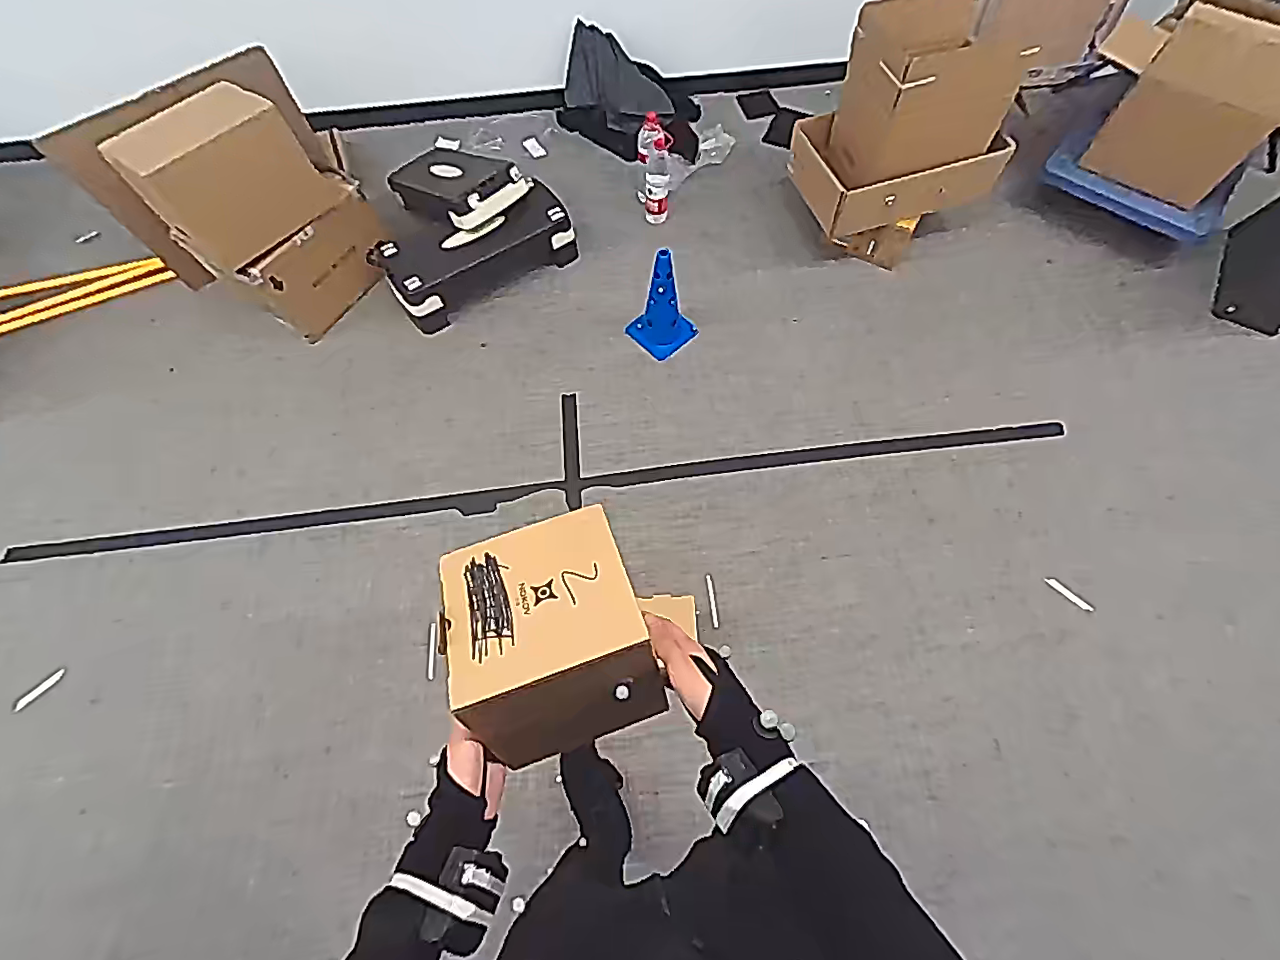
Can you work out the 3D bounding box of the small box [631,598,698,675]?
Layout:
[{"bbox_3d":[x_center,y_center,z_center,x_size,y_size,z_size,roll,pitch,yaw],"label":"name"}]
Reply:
[{"bbox_3d":[0.062,0.421,1.436,0.168,0.176,0.179,-3,65,0],"label":"small box"}]
